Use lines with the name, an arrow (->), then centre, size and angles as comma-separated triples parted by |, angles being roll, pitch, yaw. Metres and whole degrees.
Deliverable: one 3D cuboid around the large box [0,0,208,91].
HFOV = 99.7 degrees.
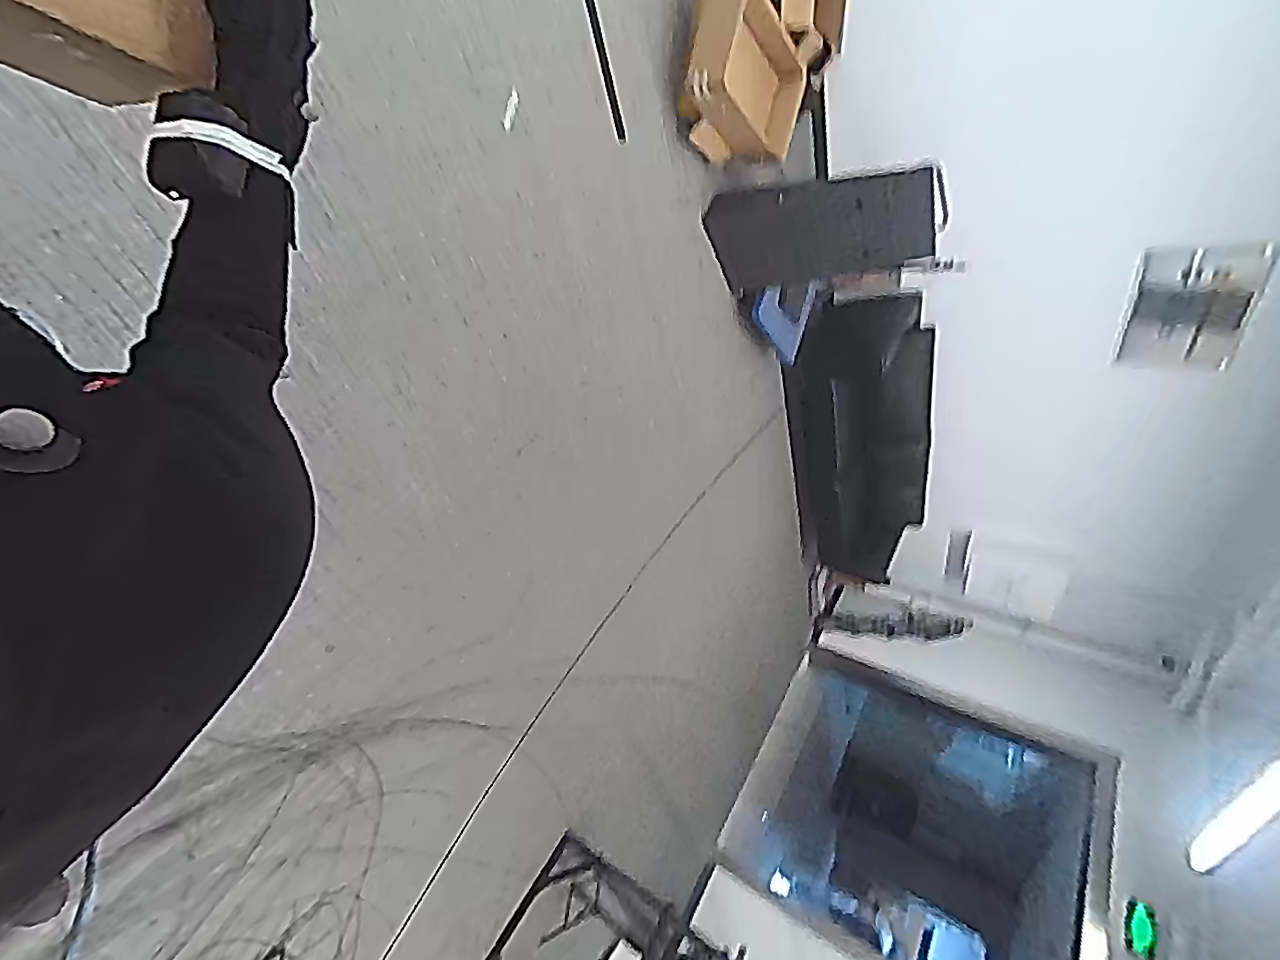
large box -> -0.527, -0.492, 0.295 | 0.408, 0.320, 0.320 | -3, 112, -56
